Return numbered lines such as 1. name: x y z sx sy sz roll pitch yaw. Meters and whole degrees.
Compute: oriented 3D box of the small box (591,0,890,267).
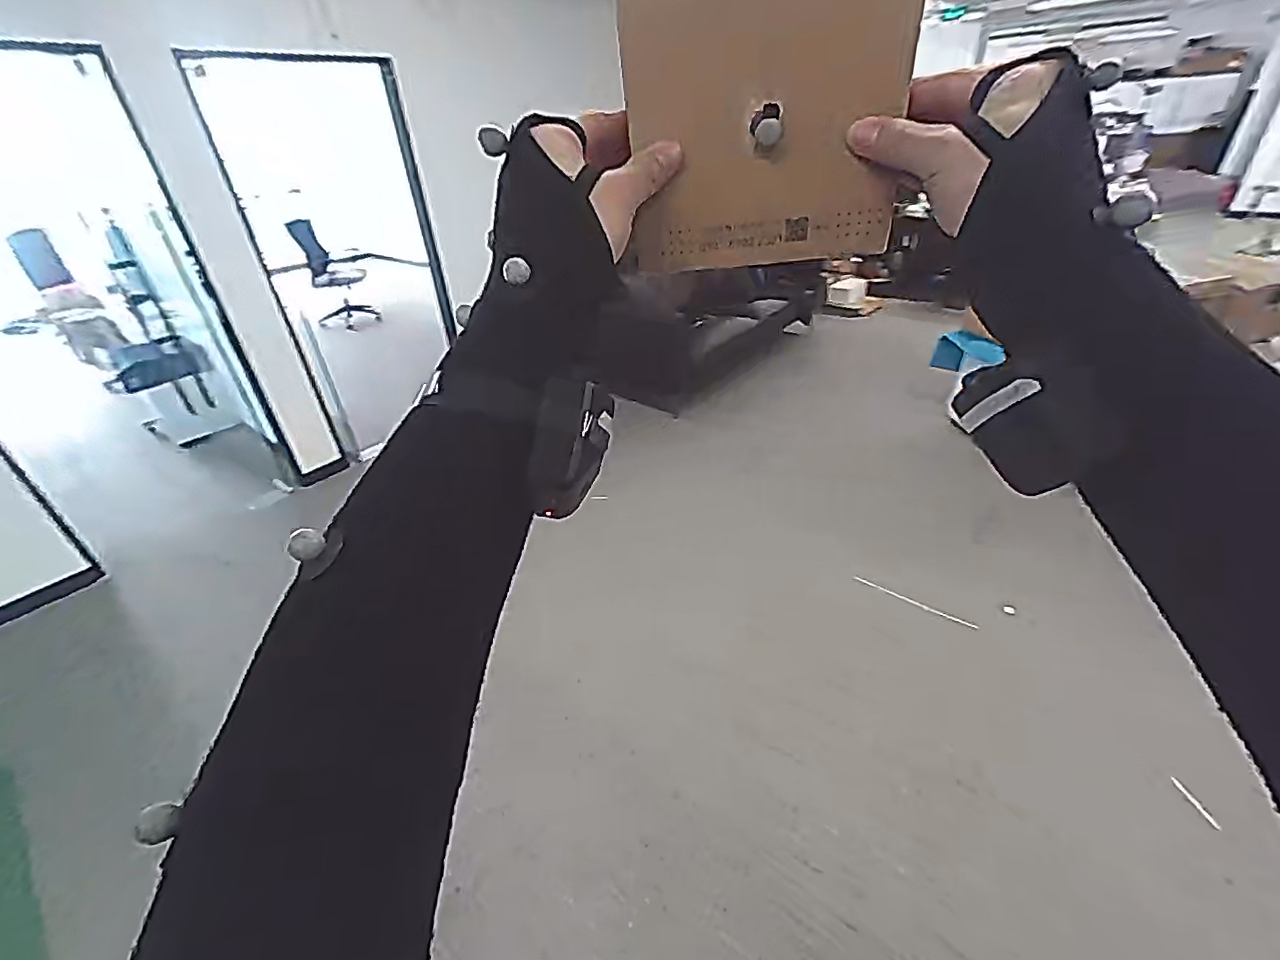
1. small box: 0.066 -0.260 0.388 0.168 0.176 0.179 -4 36 5
